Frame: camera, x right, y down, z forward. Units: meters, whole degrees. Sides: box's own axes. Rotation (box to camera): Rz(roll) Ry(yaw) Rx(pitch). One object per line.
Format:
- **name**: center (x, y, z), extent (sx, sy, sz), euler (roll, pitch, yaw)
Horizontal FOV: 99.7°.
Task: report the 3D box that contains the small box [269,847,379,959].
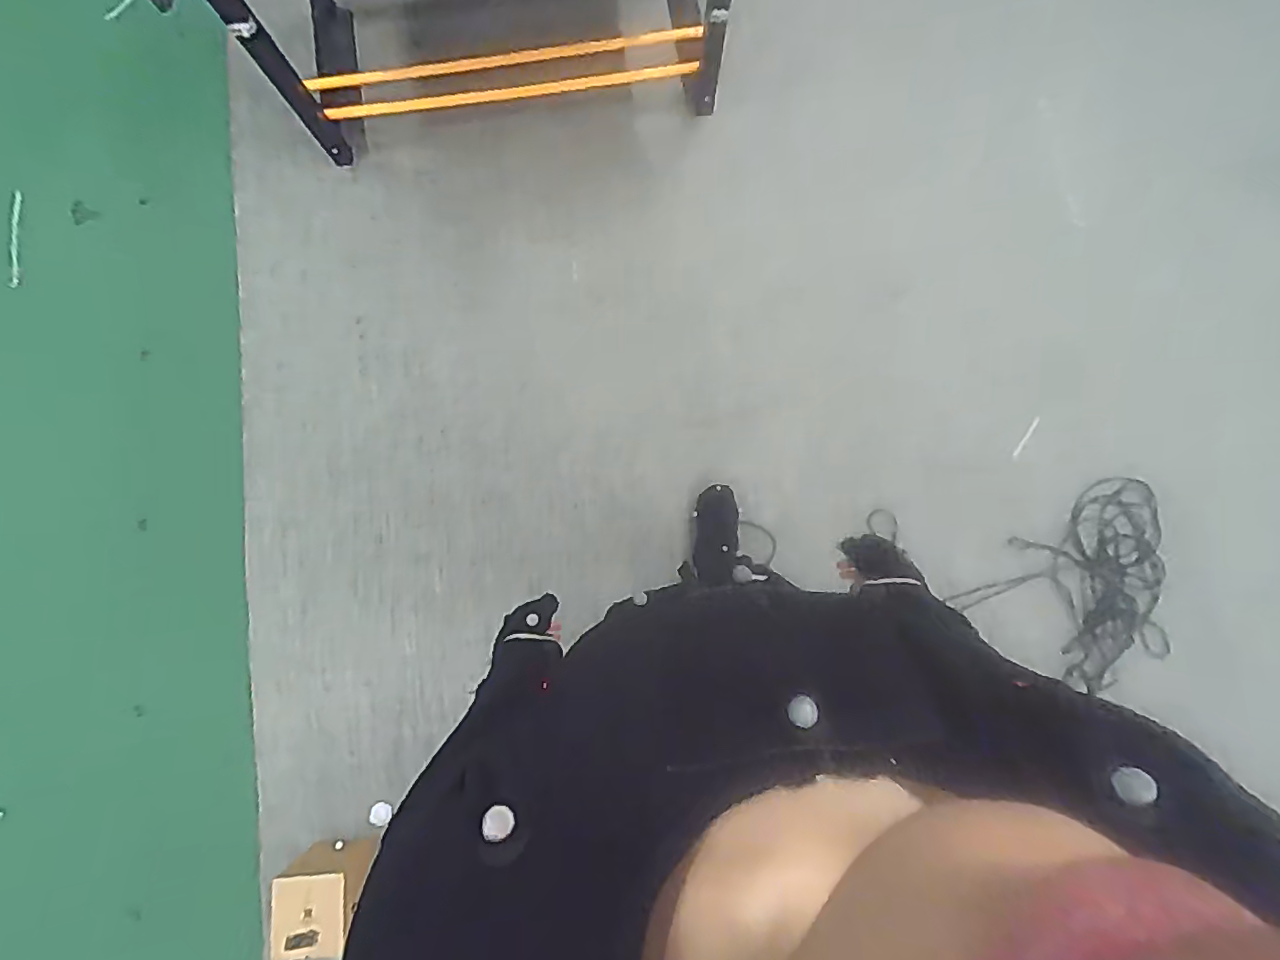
- **small box**: center (-0.736, 1.004, 1.274), extent (0.168, 0.176, 0.179), euler (-4, 80, 0)
